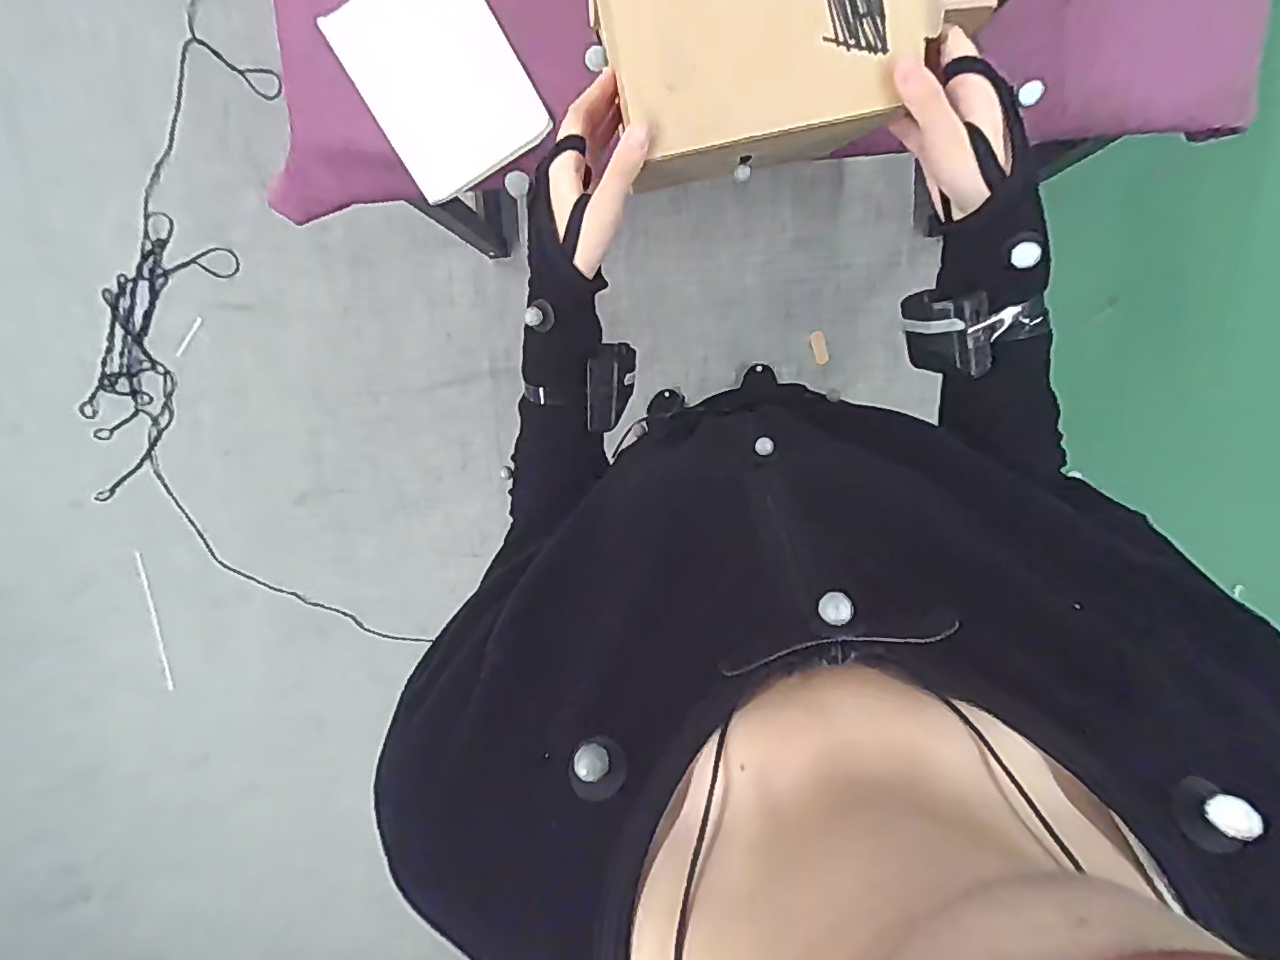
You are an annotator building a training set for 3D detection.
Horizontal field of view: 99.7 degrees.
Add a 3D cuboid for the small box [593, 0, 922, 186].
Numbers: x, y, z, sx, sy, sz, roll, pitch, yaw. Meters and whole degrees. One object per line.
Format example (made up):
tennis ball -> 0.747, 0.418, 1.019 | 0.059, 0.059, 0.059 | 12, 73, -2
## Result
small box -> 0.061, -0.312, 0.362 | 0.179, 0.176, 0.168 | -10, 111, 3
